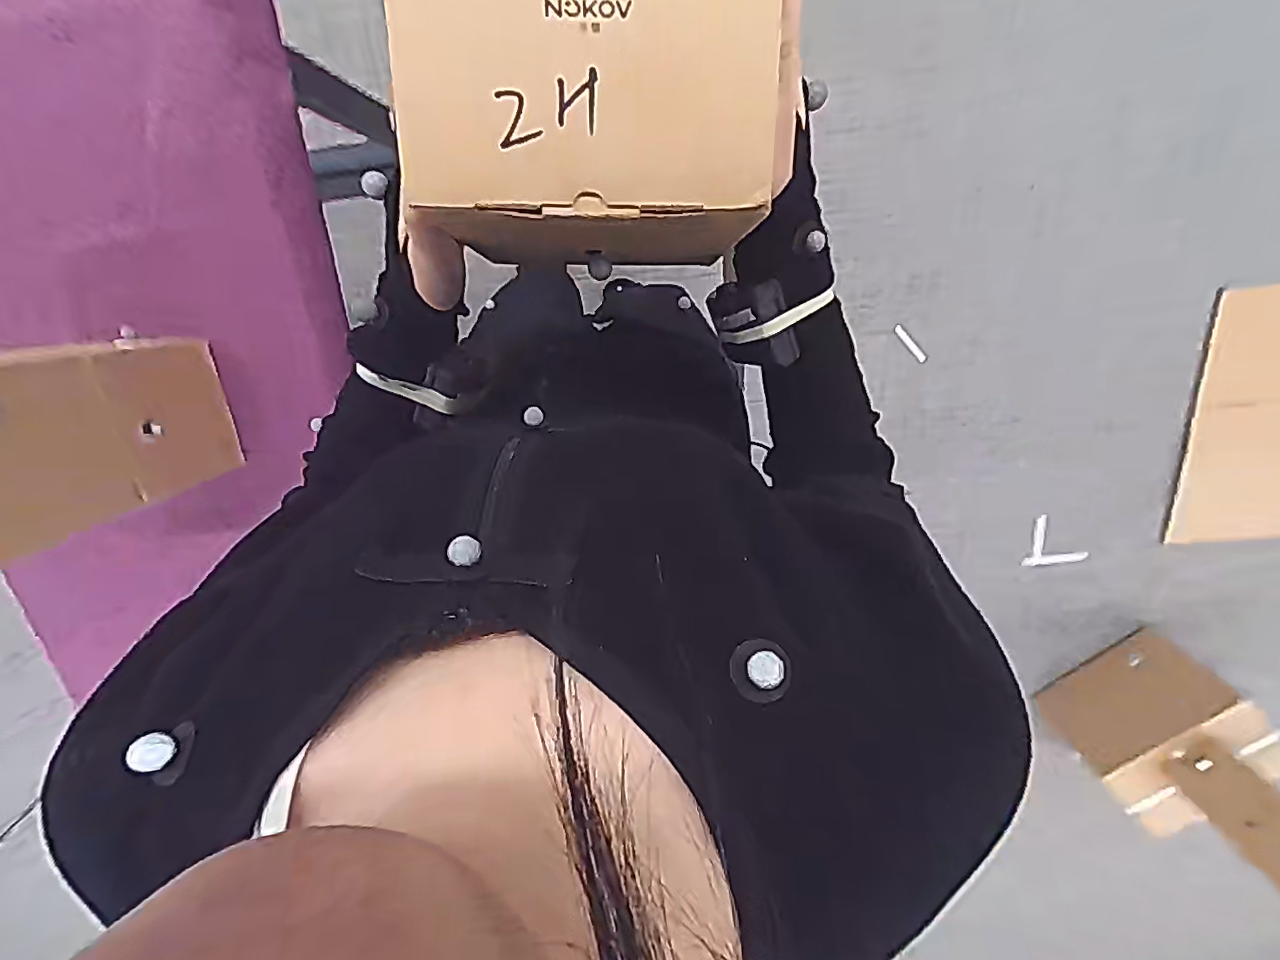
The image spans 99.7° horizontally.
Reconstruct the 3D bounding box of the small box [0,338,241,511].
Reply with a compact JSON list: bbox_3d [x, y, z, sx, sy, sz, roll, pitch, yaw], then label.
[{"bbox_3d":[-0.644,-0.075,0.667,0.168,0.176,0.179,-3,109,3],"label":"small box"}]

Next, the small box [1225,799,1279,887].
[{"bbox_3d":[1.479,0.844,1.190,0.179,0.176,0.168,42,106,-13],"label":"small box"}]

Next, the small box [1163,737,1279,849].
[{"bbox_3d":[1.484,0.784,1.343,0.179,0.176,0.168,42,107,-11],"label":"small box"}]

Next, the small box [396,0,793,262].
[{"bbox_3d":[-0.020,-0.229,0.298,0.168,0.176,0.179,1,104,-1],"label":"small box"}]
